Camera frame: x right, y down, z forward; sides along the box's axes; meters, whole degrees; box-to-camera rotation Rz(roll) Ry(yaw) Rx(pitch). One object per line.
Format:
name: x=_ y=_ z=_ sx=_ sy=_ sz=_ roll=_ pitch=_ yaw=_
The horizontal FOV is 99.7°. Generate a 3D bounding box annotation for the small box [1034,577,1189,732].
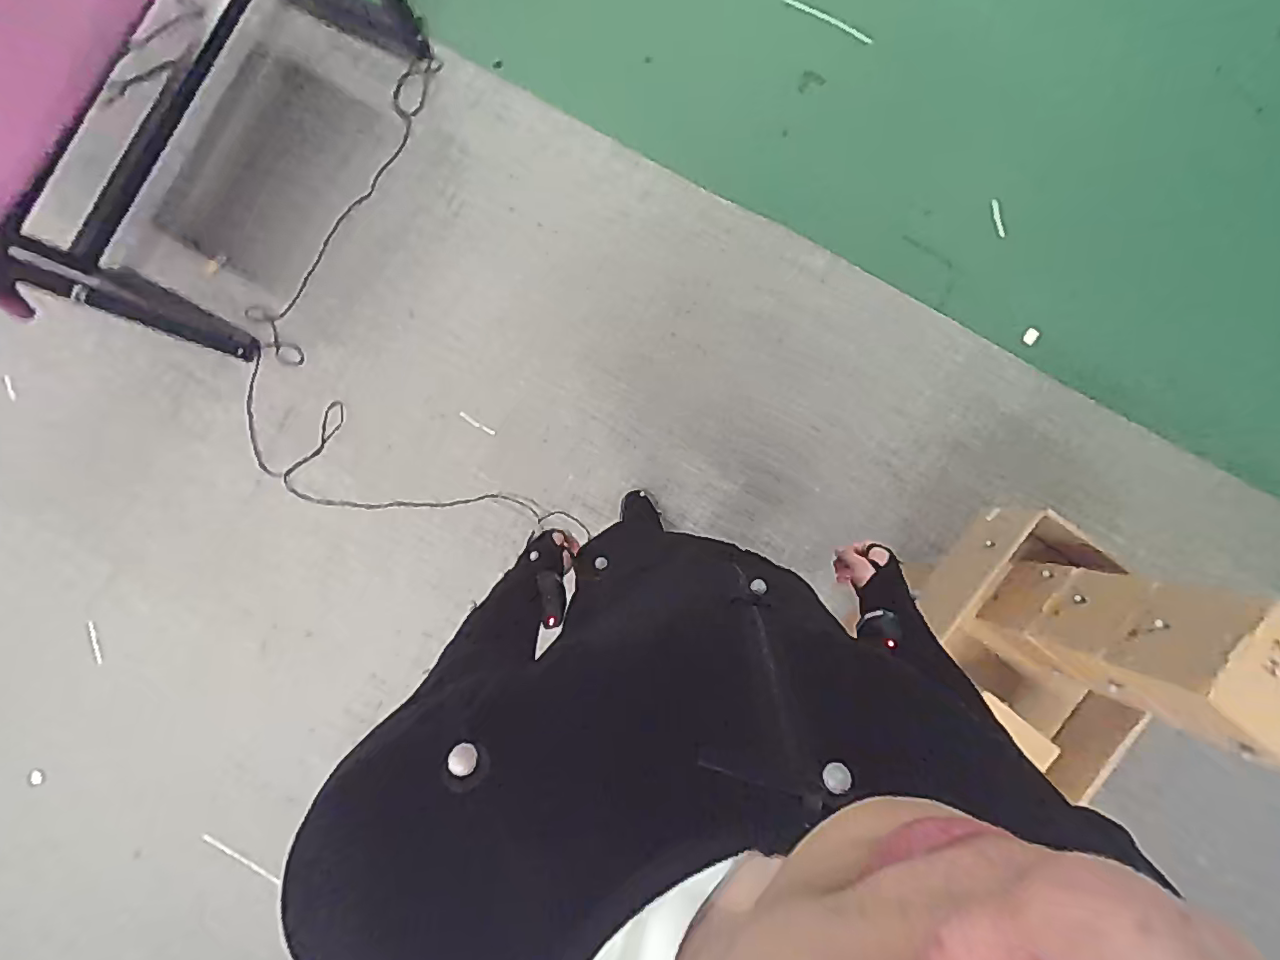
small box: x=0.851 y=0.285 z=0.934 sx=0.179 sy=0.176 sz=0.168 roll=39 pitch=90 yaw=4

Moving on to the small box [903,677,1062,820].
small box: x=0.675 y=0.524 z=1.091 sx=0.179 sy=0.176 sz=0.168 roll=39 pitch=89 yaw=4

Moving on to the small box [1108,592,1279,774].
small box: x=0.846 y=0.280 z=0.769 sx=0.179 sy=0.176 sz=0.168 roll=40 pitch=89 yaw=4
